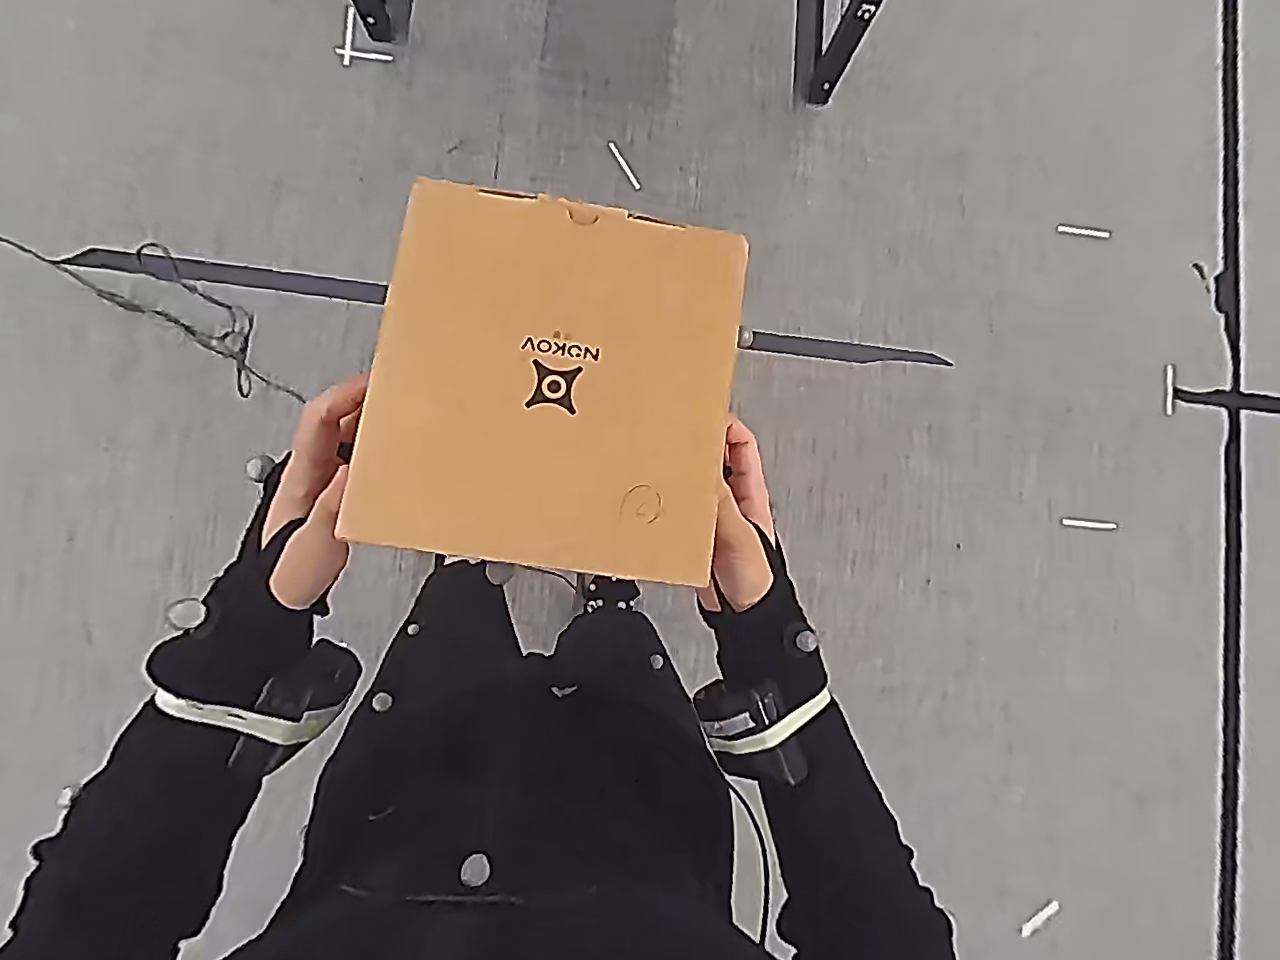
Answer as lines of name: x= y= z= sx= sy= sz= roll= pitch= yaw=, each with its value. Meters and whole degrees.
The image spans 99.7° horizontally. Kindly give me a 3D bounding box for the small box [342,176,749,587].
small box: x=-0.044 y=-0.038 z=0.329 sx=0.168 sy=0.176 sz=0.179 roll=9 pitch=81 yaw=-4
